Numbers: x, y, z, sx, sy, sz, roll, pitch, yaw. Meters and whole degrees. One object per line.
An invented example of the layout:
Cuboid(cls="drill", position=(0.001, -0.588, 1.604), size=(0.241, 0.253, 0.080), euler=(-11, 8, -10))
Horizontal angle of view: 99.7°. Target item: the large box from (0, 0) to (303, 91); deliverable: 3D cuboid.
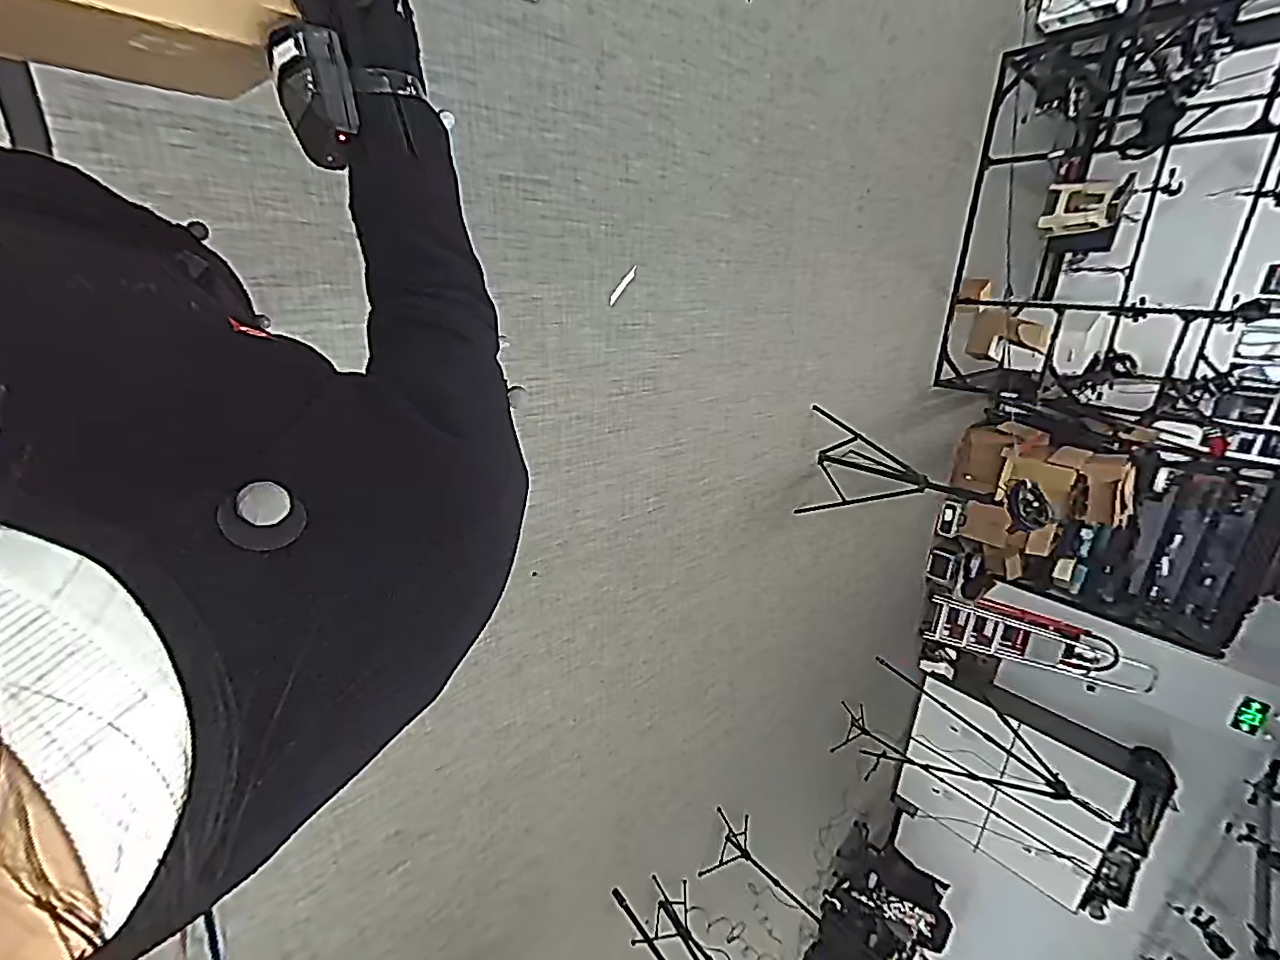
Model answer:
Cuboid(cls="large box", position=(-0.456, -0.435, 0.269), size=(0.408, 0.320, 0.320), euler=(-16, 123, -40))
